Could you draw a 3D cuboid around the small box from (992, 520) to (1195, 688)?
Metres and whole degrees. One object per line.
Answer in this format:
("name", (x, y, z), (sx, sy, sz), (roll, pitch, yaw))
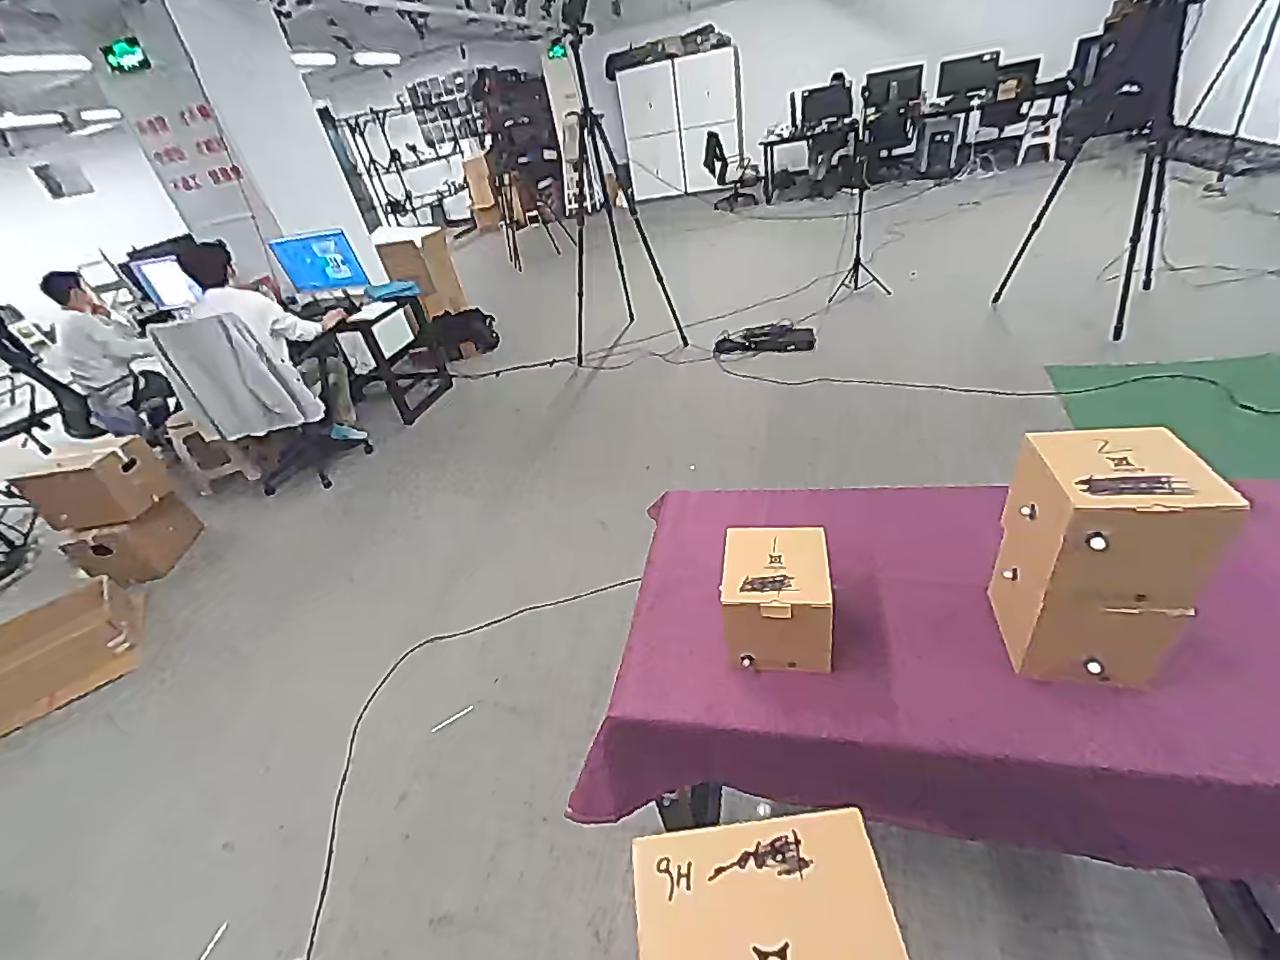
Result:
("small box", (0.651, 0.179, 0.808), (0.168, 0.176, 0.179), (-1, 37, 18))

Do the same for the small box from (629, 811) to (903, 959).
("small box", (0.090, 0.360, 0.385), (0.168, 0.176, 0.179), (-9, 48, 1))

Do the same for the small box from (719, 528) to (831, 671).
("small box", (0.231, 0.201, 0.914), (0.168, 0.176, 0.179), (-2, 35, 15))
